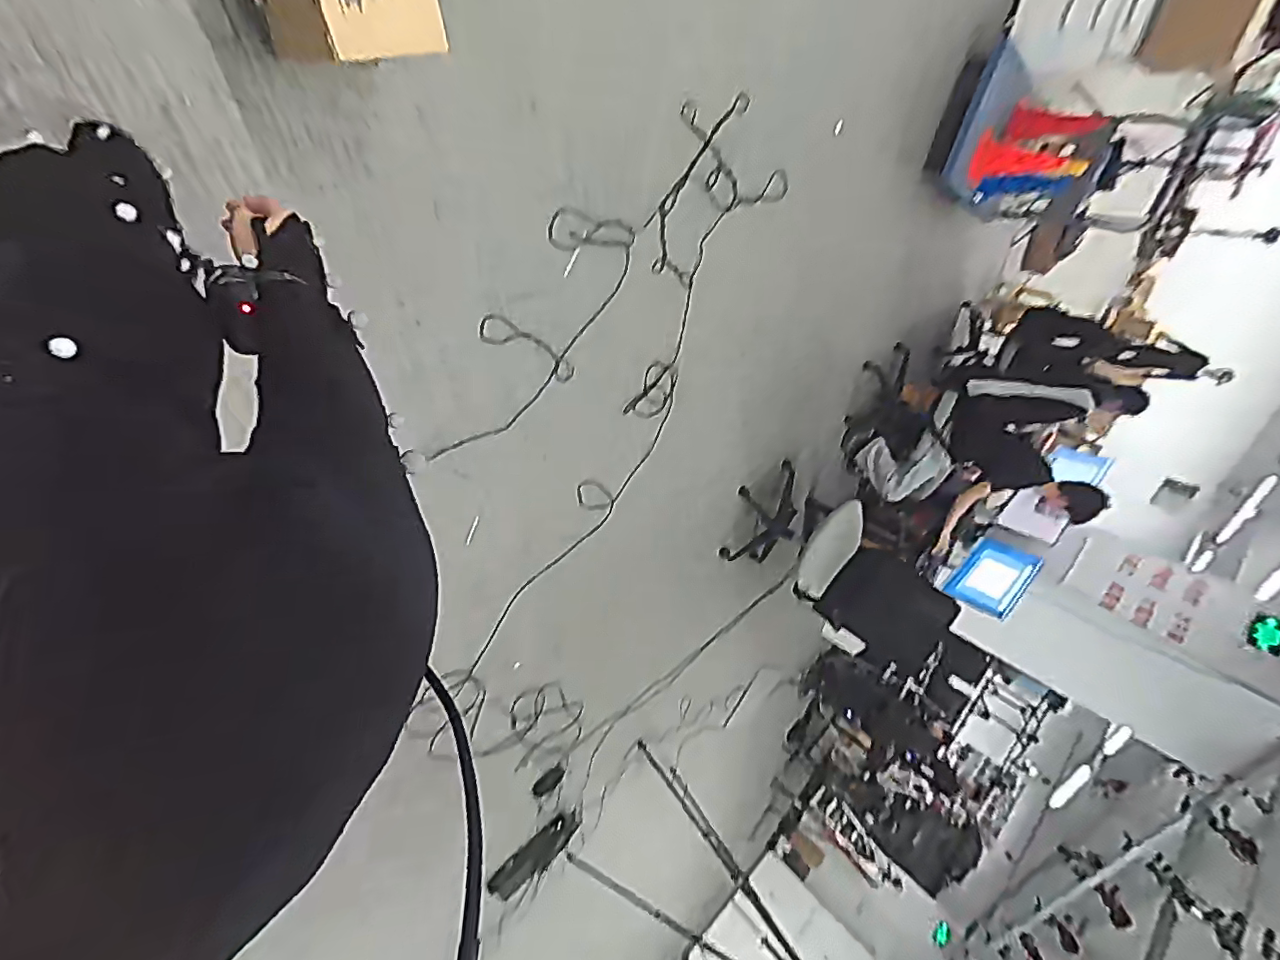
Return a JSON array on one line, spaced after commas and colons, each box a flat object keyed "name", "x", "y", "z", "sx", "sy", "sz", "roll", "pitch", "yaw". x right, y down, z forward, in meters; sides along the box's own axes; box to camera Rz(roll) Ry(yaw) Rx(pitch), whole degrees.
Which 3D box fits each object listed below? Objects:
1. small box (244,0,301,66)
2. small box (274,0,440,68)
[{"name": "small box", "x": -0.537, "y": -0.796, "z": 0.897, "sx": 0.179, "sy": 0.176, "sz": 0.168, "roll": -32, "pitch": 135, "yaw": -32}, {"name": "small box", "x": -0.434, "y": -0.719, "z": 0.796, "sx": 0.179, "sy": 0.176, "sz": 0.168, "roll": -34, "pitch": 137, "yaw": -30}]
